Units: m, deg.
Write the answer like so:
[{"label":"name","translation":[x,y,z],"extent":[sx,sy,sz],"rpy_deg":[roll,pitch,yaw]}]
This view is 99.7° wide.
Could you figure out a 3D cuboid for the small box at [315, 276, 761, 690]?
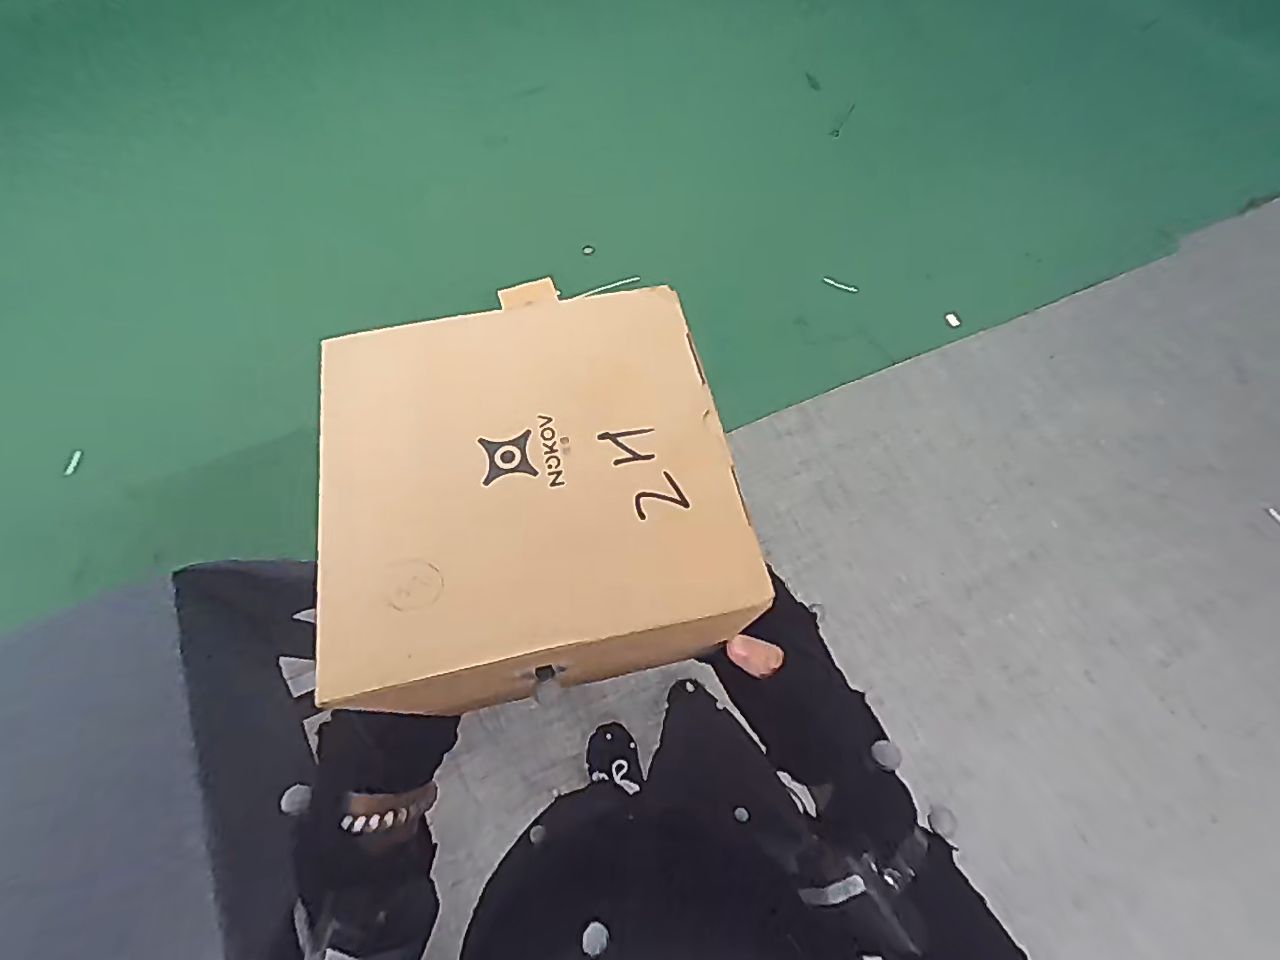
[{"label":"small box","translation":[-0.052,0.015,0.311],"extent":[0.179,0.176,0.168],"rpy_deg":[-10,66,-7]}]

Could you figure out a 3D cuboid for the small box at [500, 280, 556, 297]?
[{"label":"small box","translation":[-0.312,-0.474,1.659],"extent":[0.168,0.176,0.179],"rpy_deg":[-18,68,-7]}]
